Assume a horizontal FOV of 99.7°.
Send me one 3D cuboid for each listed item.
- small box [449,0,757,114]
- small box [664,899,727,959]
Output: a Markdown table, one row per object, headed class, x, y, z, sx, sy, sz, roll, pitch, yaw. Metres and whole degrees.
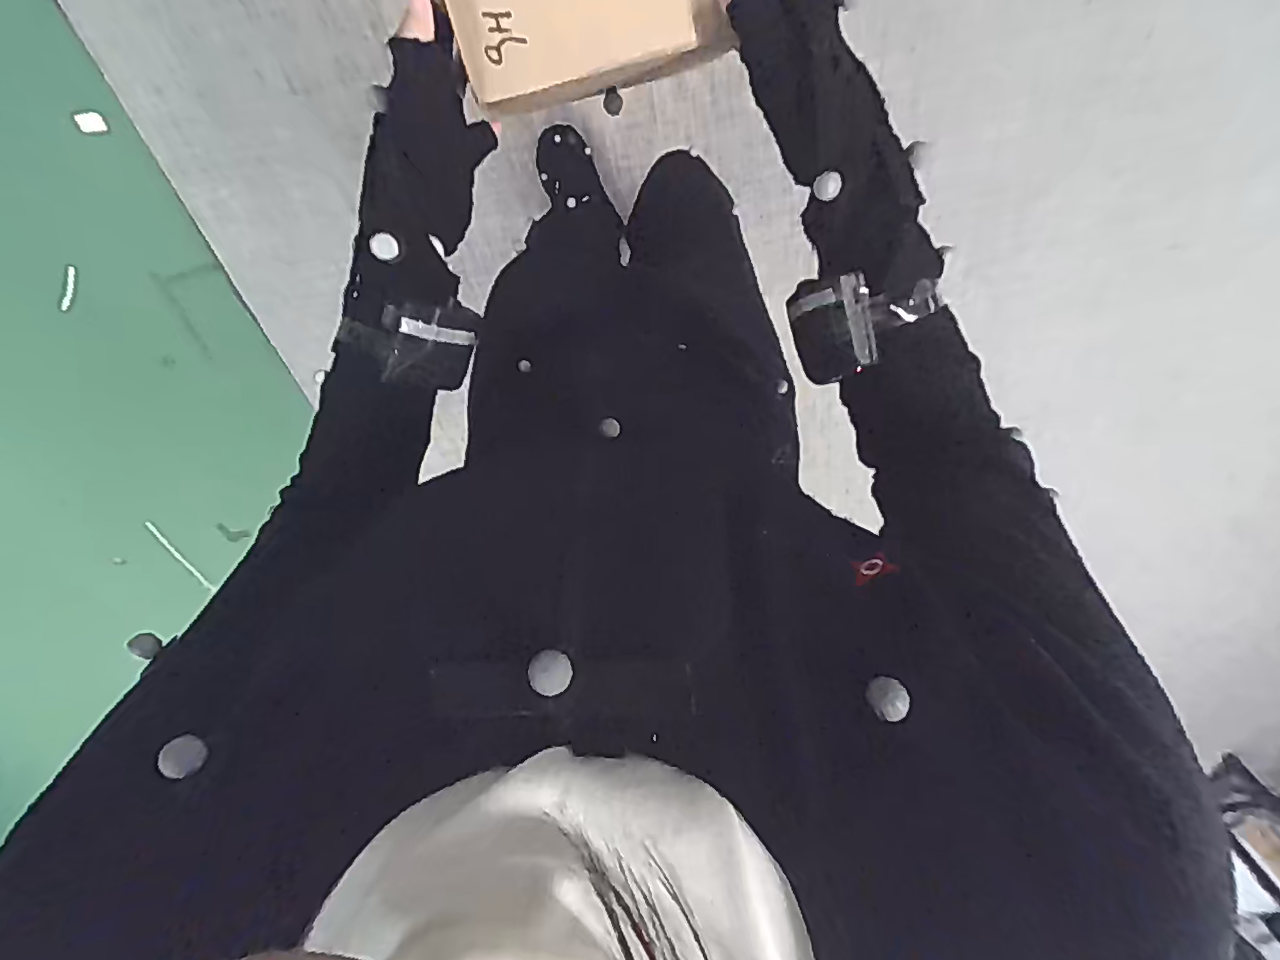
| class | x | y | z | sx | sy | sz | roll | pitch | yaw |
| --- | --- | --- | --- | --- | --- | --- | --- | --- | --- |
| small box | -0.038 | -0.357 | 0.352 | 0.179 | 0.176 | 0.168 | -13 | 121 | 2 |
| small box | 0.184 | 1.503 | 1.772 | 0.179 | 0.176 | 0.168 | -11 | 127 | 4 |
